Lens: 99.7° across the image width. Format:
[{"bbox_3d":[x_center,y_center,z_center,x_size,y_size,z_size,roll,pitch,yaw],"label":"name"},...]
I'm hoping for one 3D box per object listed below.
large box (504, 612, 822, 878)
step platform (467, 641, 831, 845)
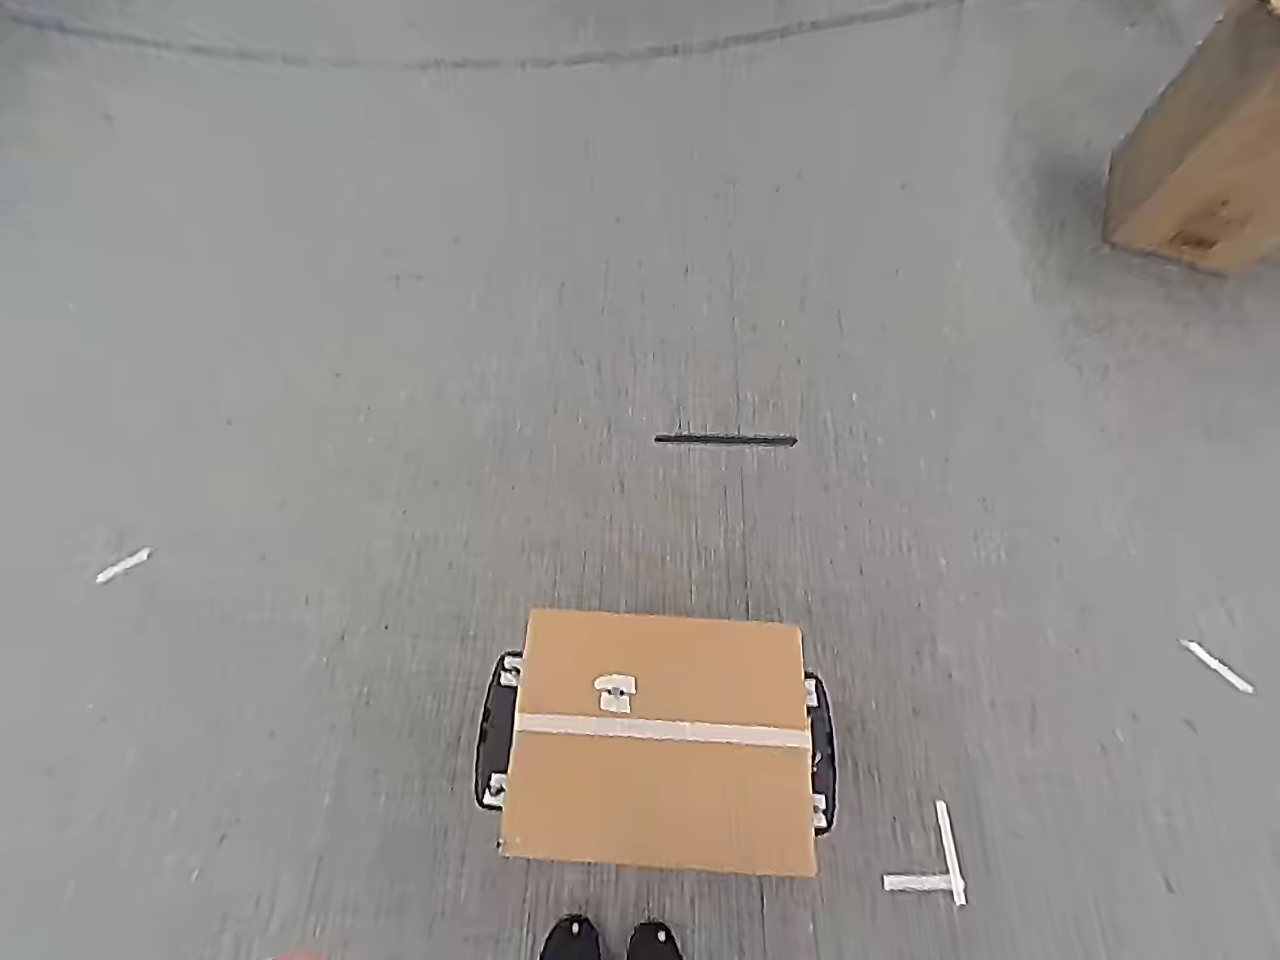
[{"bbox_3d":[0.038,0.403,0.867,0.408,0.320,0.320,3,64,2],"label":"large box"},{"bbox_3d":[0.019,0.519,1.076,0.684,0.204,0.286,8,65,4],"label":"step platform"}]
